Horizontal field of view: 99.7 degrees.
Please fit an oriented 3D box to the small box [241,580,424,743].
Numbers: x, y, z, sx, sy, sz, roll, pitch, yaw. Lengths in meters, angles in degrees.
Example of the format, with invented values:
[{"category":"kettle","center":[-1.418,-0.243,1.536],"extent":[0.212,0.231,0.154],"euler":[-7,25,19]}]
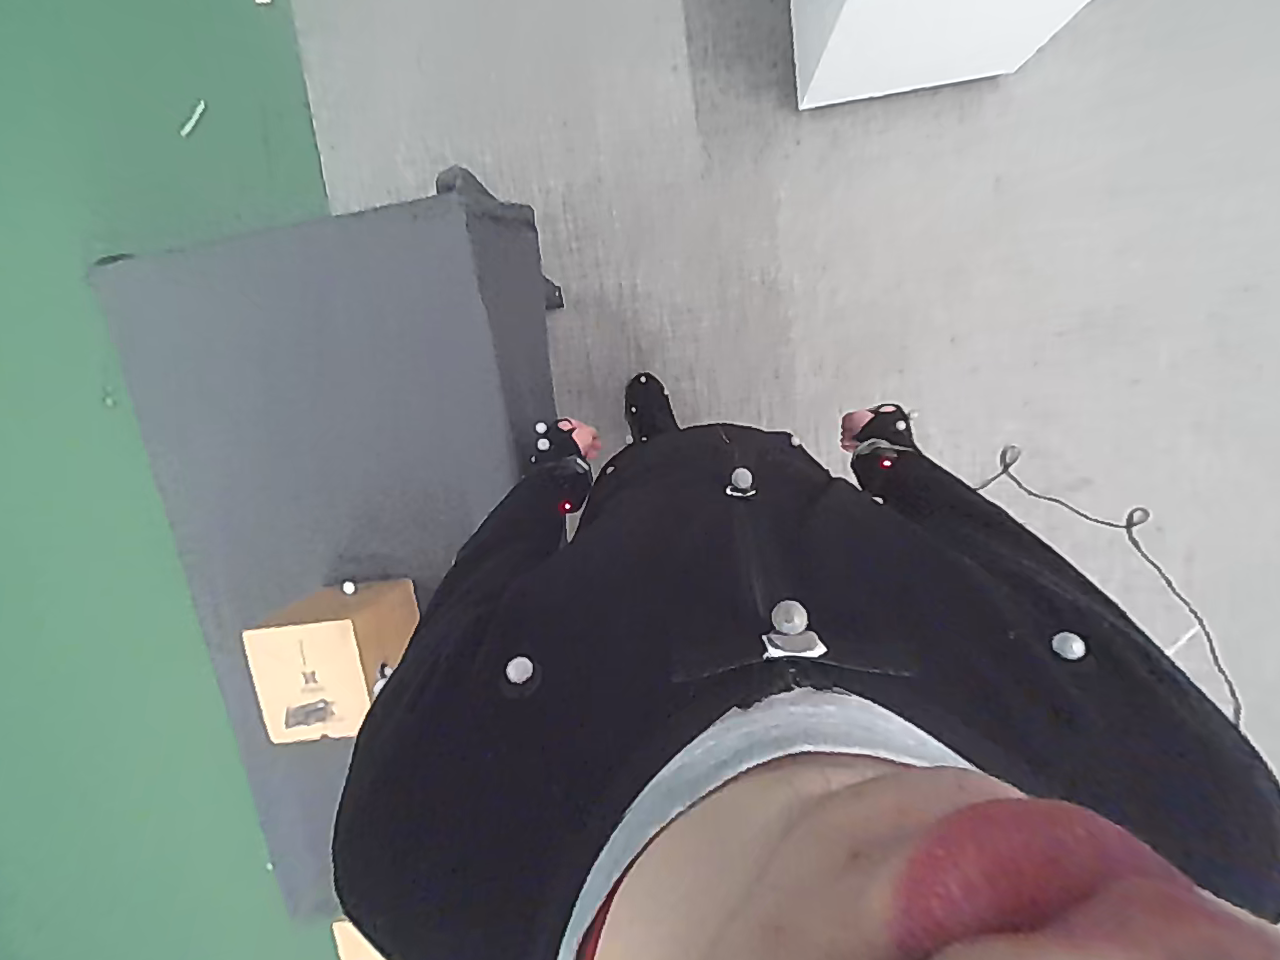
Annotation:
[{"category":"small box","center":[-0.455,0.271,0.832],"extent":[0.168,0.176,0.179],"euler":[-7,98,6]}]
